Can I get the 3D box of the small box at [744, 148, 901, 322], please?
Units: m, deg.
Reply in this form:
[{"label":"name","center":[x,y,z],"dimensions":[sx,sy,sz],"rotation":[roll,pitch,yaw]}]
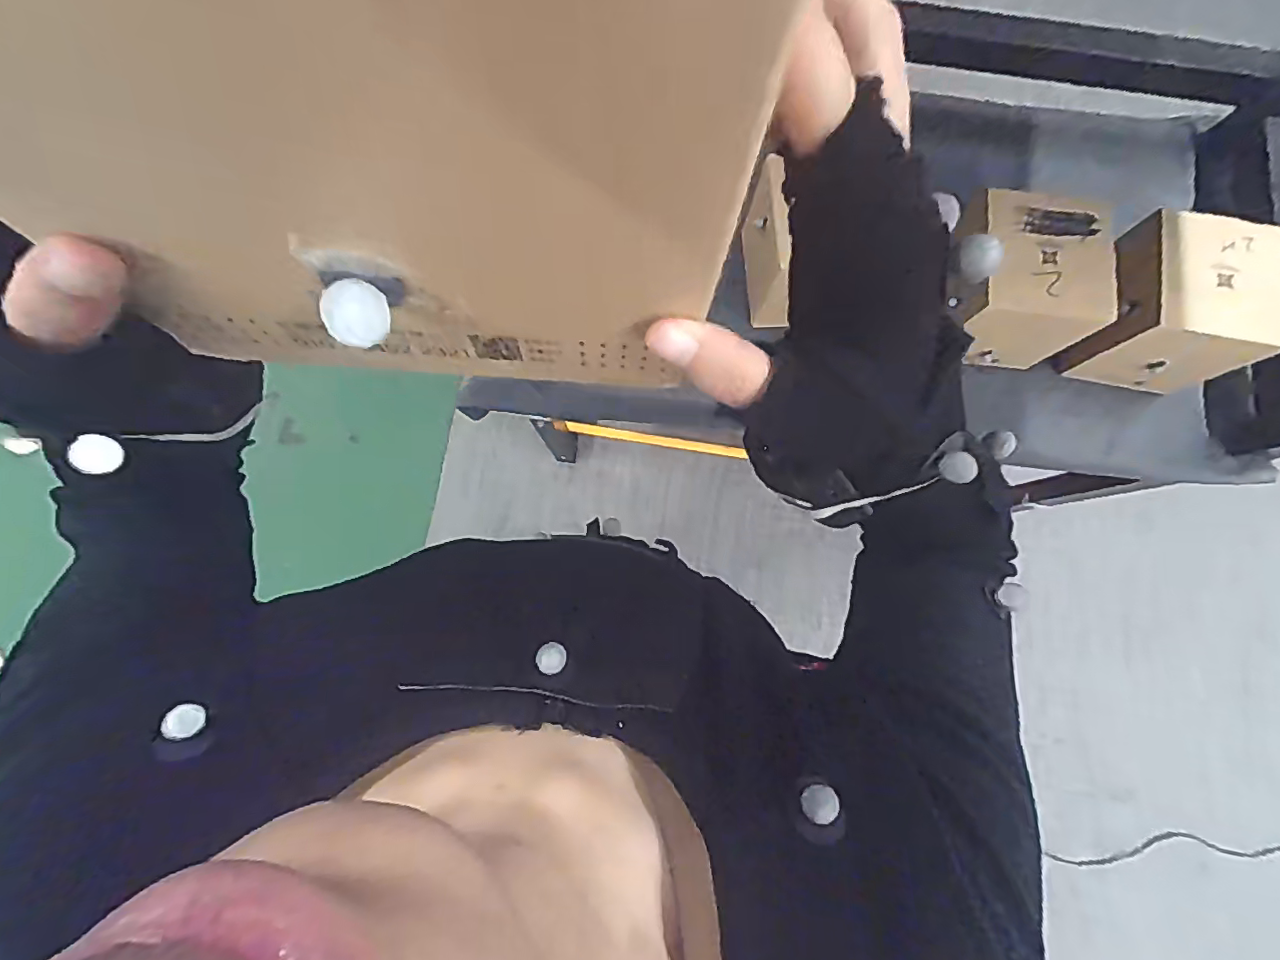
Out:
[{"label":"small box","center":[0.252,-0.342,0.786],"dimensions":[0.168,0.176,0.179],"rotation":[-2,79,-1]}]
